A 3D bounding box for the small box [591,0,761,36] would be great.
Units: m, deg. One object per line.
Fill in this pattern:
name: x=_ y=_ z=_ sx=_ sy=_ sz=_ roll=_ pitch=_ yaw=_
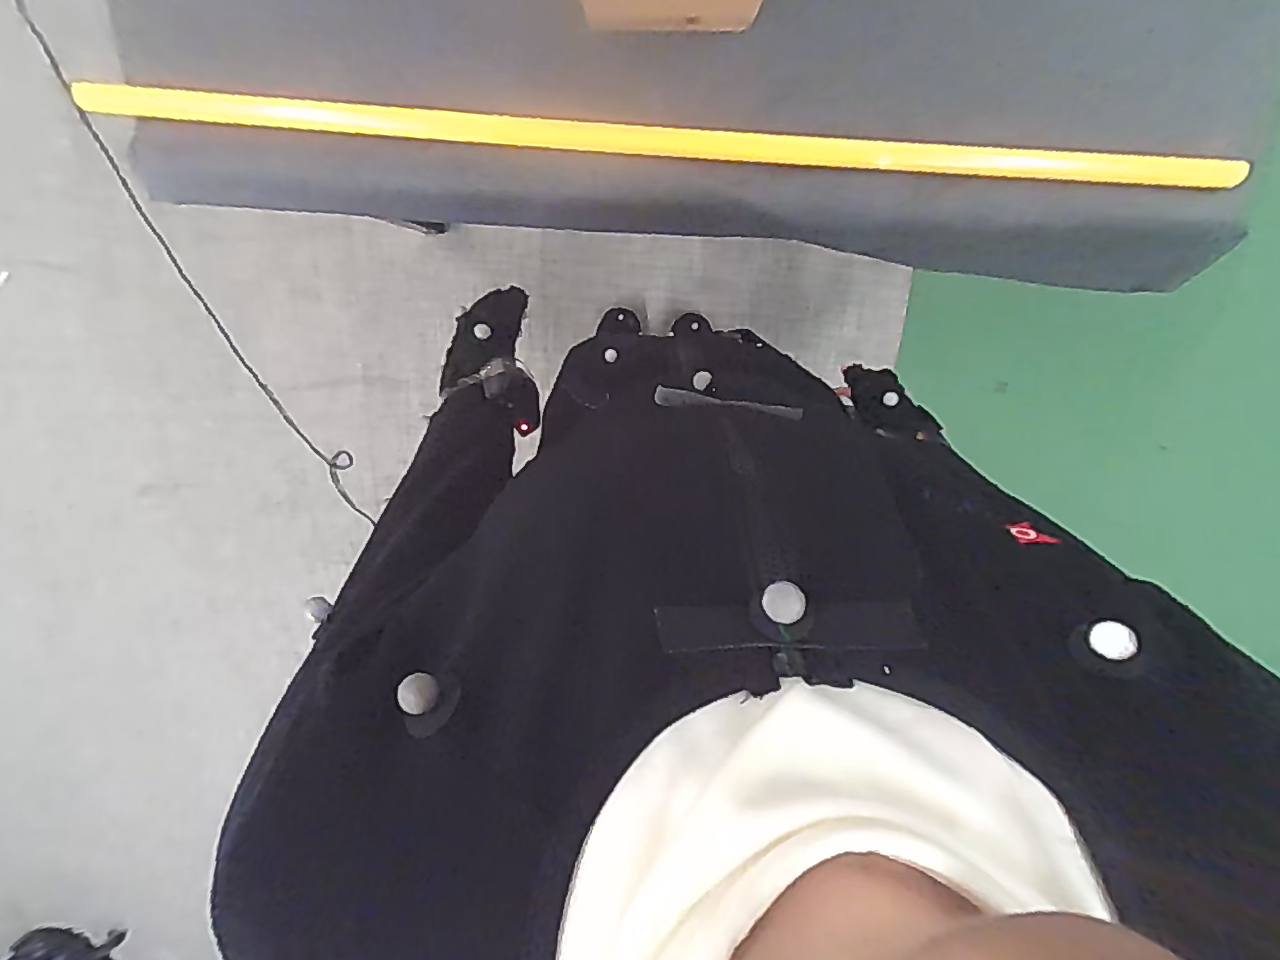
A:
small box: x=0.032 y=-0.514 z=0.447 sx=0.168 sy=0.176 sz=0.179 roll=1 pitch=107 yaw=1
